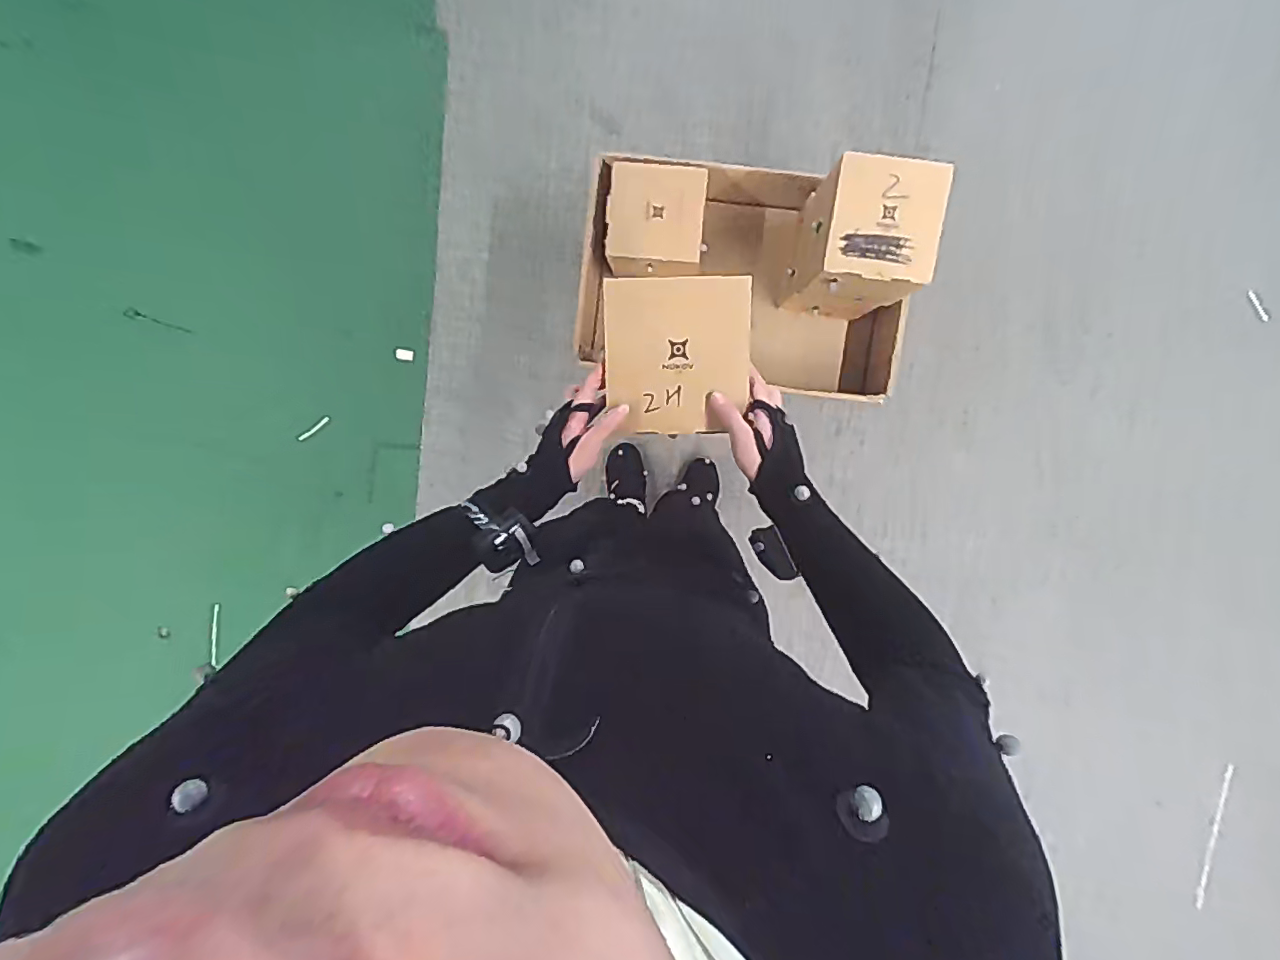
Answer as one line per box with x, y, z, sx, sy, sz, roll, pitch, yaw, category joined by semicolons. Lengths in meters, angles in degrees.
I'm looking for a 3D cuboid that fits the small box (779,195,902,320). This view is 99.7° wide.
0.378;-0.423;1.052;0.168;0.176;0.179;8;98;2;small box

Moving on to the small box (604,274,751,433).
0.043;-0.152;0.684;0.168;0.176;0.179;0;100;2;small box
